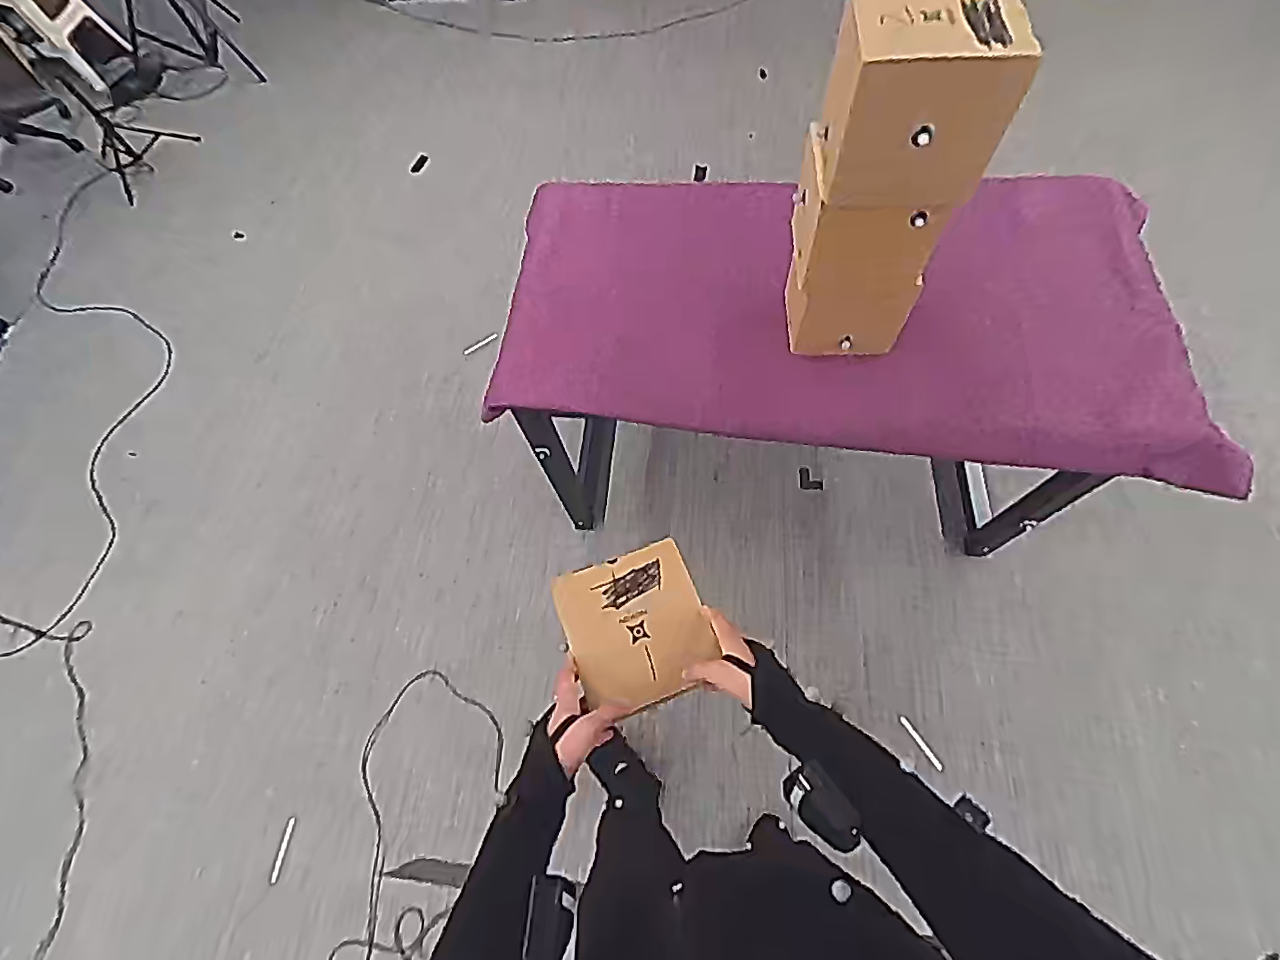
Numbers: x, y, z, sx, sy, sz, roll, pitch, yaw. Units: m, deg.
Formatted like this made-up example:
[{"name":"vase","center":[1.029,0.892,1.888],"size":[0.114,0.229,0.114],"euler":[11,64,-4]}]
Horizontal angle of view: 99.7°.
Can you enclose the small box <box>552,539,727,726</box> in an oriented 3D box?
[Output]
[{"name":"small box","center":[-0.009,0.205,0.707],"size":[0.168,0.176,0.179],"euler":[-18,67,-11]}]

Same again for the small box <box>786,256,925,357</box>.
[{"name":"small box","center":[0.363,-0.330,0.945],"size":[0.179,0.176,0.168],"euler":[1,64,5]}]

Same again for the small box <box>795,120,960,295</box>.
[{"name":"small box","center":[0.330,-0.392,0.796],"size":[0.179,0.176,0.168],"euler":[1,64,5]}]
